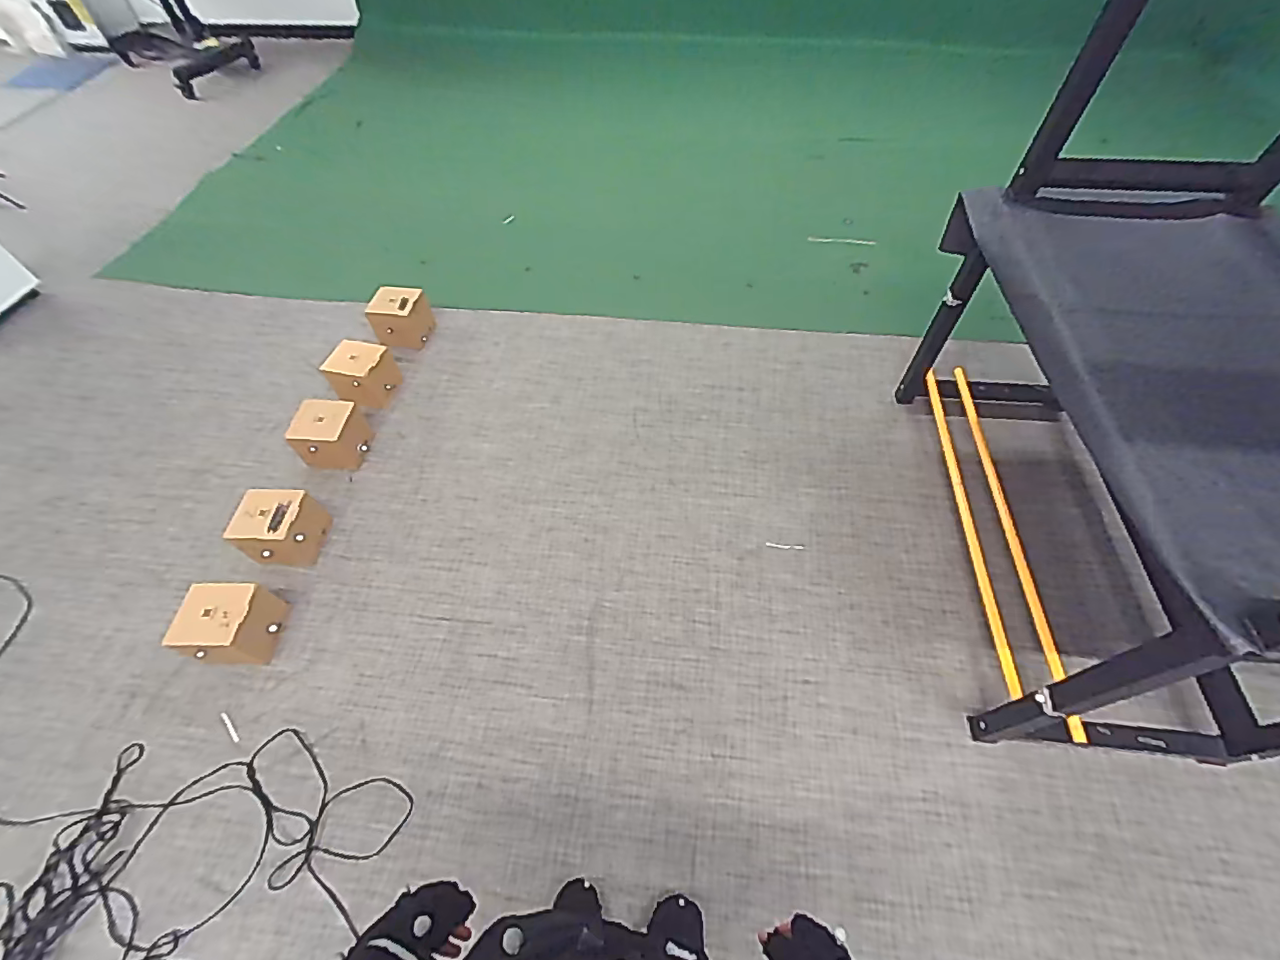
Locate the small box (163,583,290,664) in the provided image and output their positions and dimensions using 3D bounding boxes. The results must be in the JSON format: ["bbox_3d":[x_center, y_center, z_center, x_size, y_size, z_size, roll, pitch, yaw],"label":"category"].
[{"bbox_3d":[-1.079,0.383,1.429,0.179,0.176,0.168,0,56,1],"label":"small box"}]

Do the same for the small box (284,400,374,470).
[{"bbox_3d":[-1.025,-0.146,1.798,0.179,0.176,0.168,4,57,1],"label":"small box"}]

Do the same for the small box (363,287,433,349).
[{"bbox_3d":[-0.947,-0.637,2.140,0.179,0.176,0.168,6,55,6],"label":"small box"}]

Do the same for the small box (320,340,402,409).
[{"bbox_3d":[-1.004,-0.379,1.961,0.179,0.176,0.168,10,56,7],"label":"small box"}]
